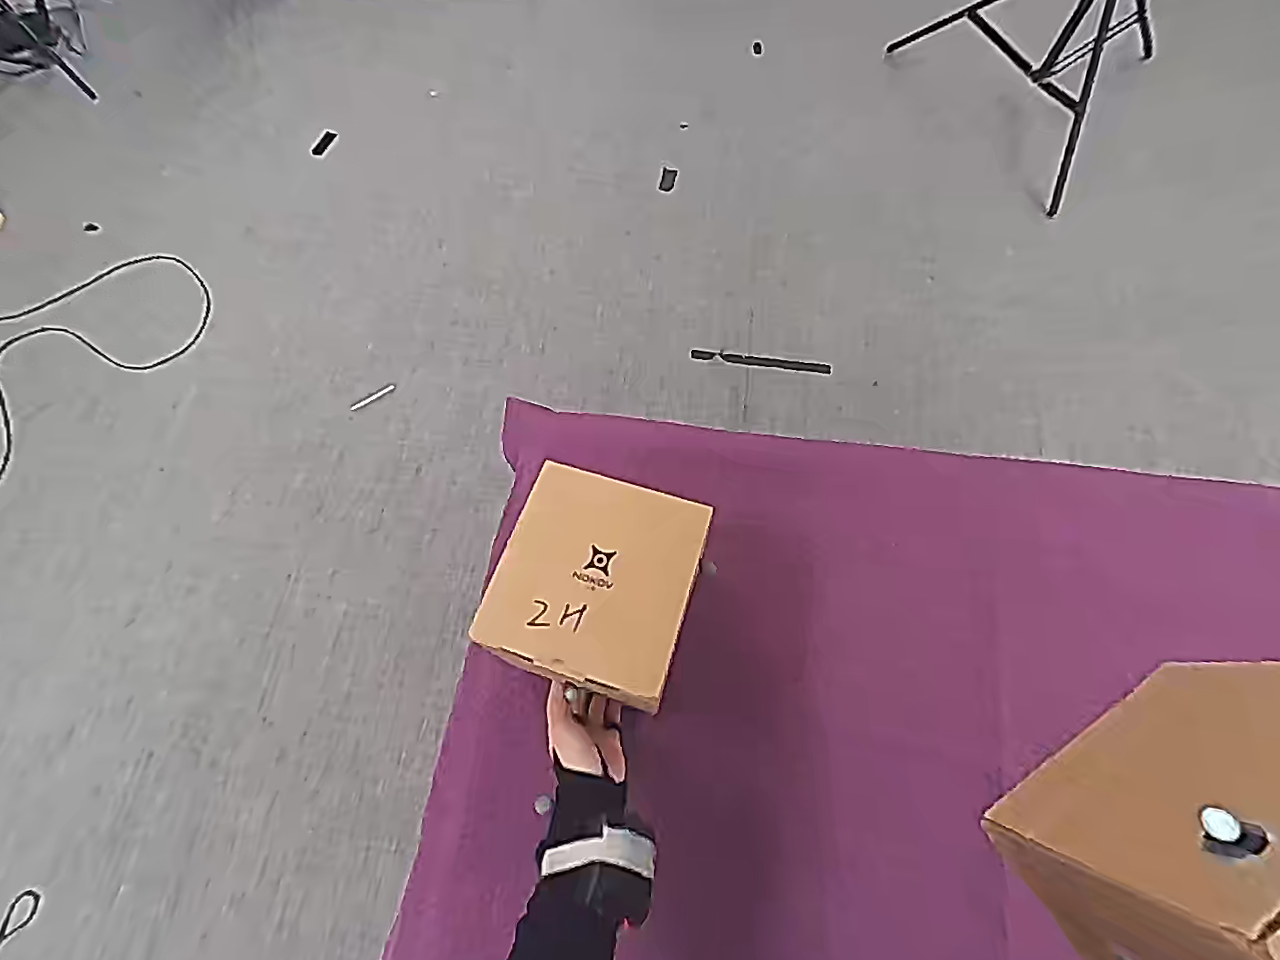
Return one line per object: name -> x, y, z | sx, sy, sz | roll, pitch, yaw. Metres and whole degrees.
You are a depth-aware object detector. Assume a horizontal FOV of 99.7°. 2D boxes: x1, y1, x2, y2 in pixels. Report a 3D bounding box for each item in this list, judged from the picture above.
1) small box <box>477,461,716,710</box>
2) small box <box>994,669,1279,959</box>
small box -> -0.033, 0.112, 0.539 | 0.168, 0.176, 0.179 | 16, 65, 9
small box -> 0.326, 0.205, 0.256 | 0.179, 0.176, 0.168 | -32, 74, -9
